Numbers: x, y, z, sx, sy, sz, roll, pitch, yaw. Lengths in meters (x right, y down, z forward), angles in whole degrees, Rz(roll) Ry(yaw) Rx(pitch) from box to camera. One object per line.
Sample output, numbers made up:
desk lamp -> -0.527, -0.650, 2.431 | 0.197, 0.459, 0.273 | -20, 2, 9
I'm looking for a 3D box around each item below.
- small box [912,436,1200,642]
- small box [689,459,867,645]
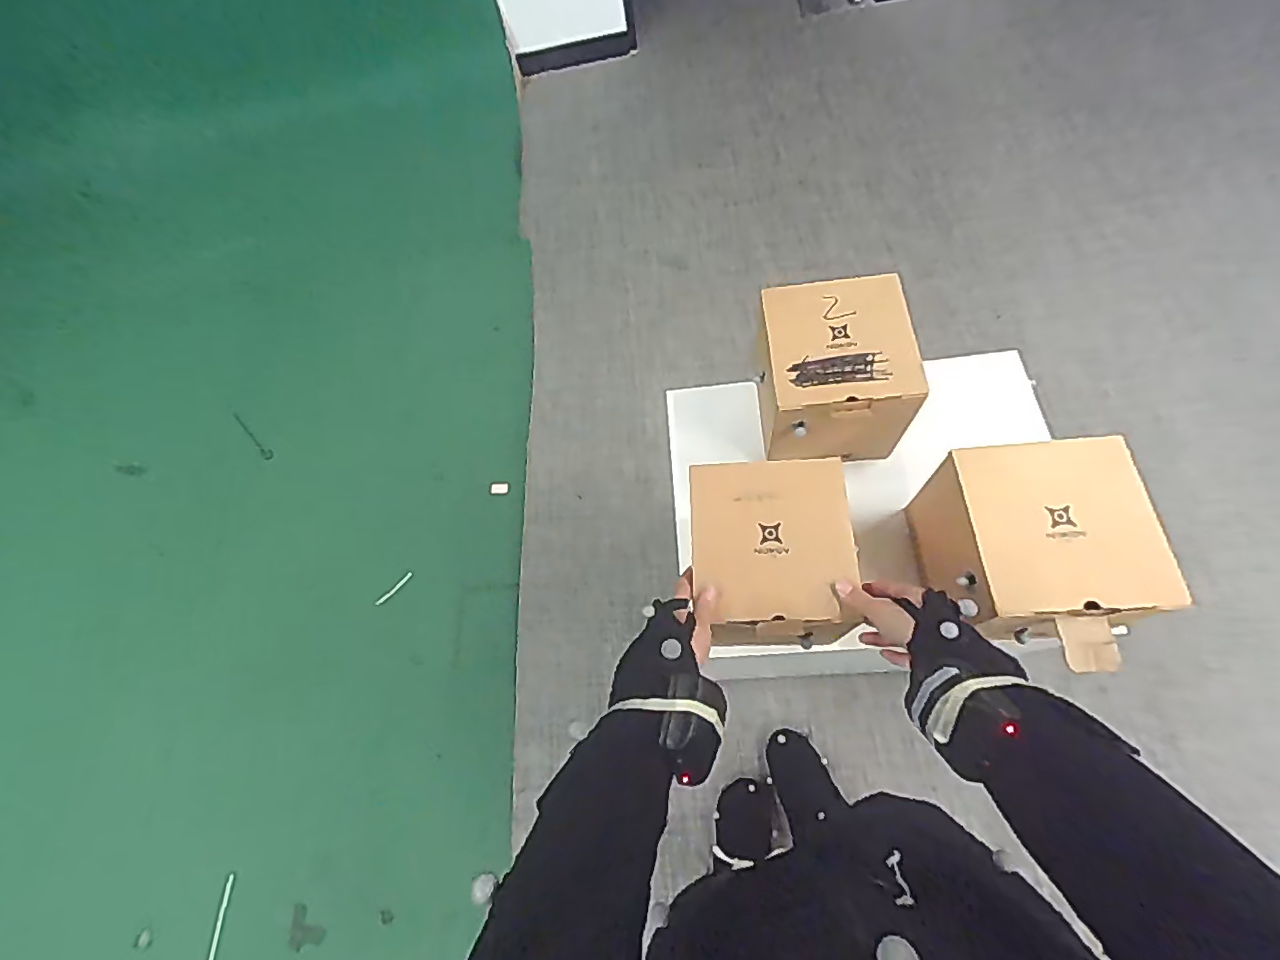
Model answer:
small box -> 0.419, 0.072, 0.588 | 0.168, 0.176, 0.179 | -5, 66, 7
small box -> 0.145, 0.093, 0.624 | 0.168, 0.176, 0.179 | -3, 65, 6
